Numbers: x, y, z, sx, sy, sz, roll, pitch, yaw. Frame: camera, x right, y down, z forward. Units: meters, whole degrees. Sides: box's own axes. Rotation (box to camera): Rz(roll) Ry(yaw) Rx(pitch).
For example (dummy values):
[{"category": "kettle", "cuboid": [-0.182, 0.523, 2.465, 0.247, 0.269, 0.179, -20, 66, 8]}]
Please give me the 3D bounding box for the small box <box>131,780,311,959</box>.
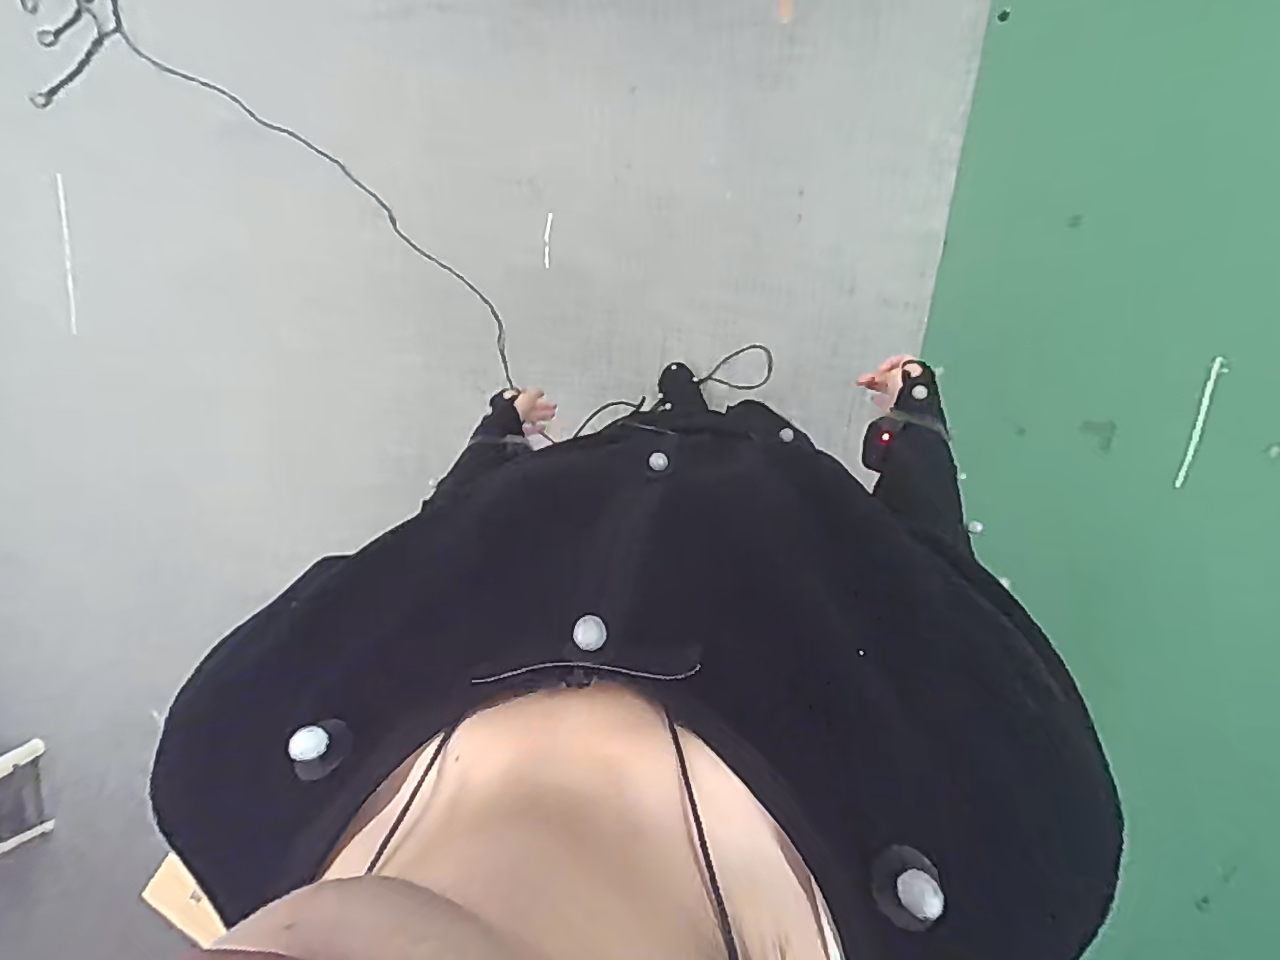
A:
[{"category": "small box", "cuboid": [-0.751, 0.700, 0.990, 0.168, 0.176, 0.179, 39, 103, 1]}]
